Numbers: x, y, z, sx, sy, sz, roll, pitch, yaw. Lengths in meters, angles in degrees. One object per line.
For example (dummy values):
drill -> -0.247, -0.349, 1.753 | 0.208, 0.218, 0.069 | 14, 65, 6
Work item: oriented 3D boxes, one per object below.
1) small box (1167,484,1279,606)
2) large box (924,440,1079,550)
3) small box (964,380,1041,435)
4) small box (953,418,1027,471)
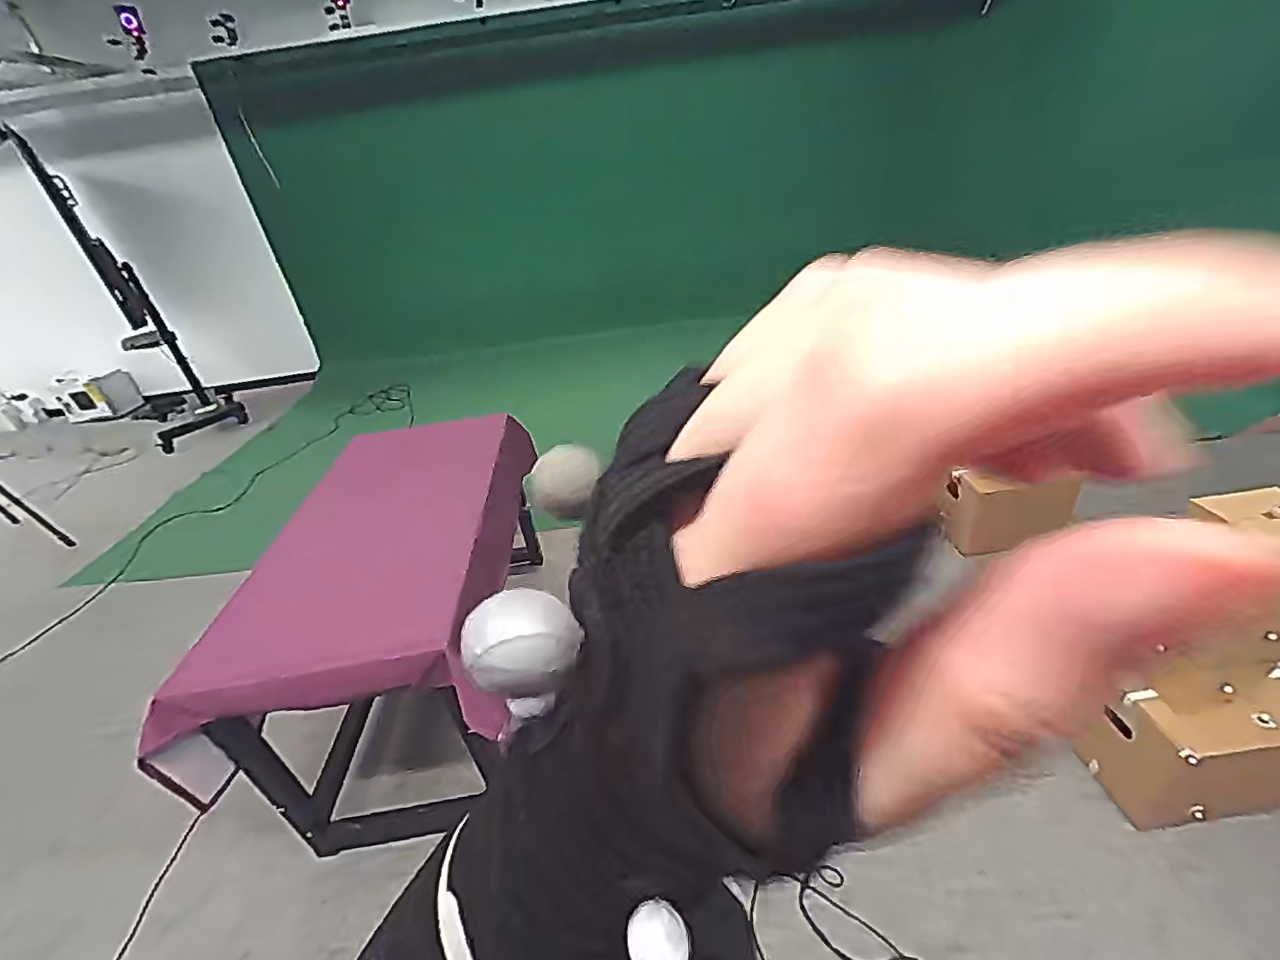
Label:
small box -> 1.239, 0.131, 1.090 | 0.179, 0.176, 0.168 | -9, 30, 2
large box -> 1.470, 0.061, 2.240 | 0.408, 0.320, 0.320 | -7, 32, -1
small box -> 1.358, -0.283, 2.042 | 0.179, 0.176, 0.168 | -10, 32, -5
small box -> 1.370, -0.144, 2.128 | 0.168, 0.176, 0.179 | -8, 31, -1
